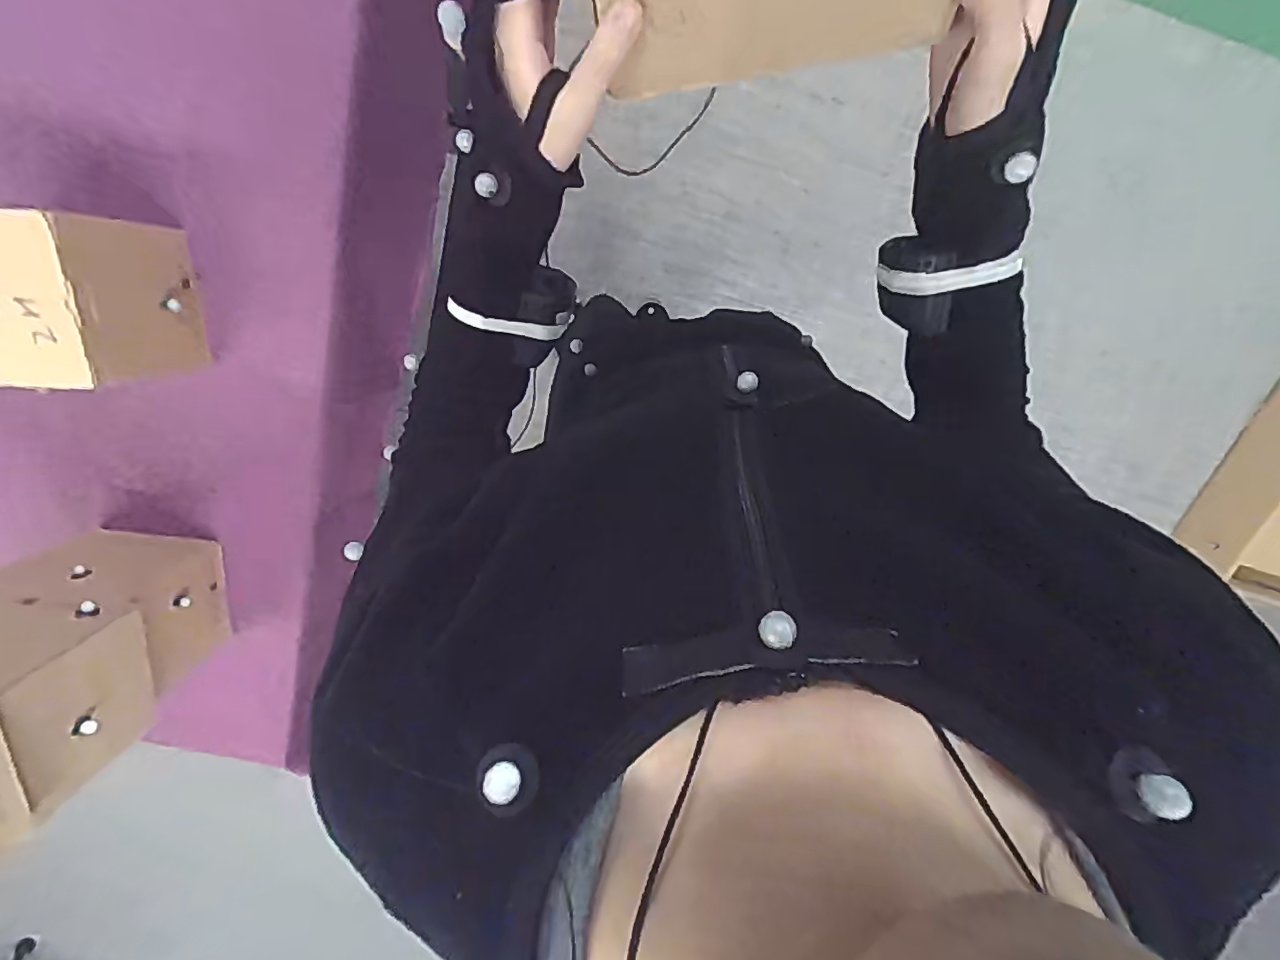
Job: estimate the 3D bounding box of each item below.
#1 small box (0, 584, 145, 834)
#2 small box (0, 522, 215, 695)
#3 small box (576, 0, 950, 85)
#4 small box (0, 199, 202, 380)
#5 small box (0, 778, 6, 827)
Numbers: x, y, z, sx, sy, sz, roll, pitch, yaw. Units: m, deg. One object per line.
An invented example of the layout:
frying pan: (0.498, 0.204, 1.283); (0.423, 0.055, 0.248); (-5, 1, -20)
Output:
small box: (-0.684, 0.229, 0.573); (0.168, 0.176, 0.179); (8, 108, -4)
small box: (-0.711, 0.169, 0.725); (0.179, 0.176, 0.168); (9, 108, -3)
small box: (0.051, -0.315, 0.231); (0.179, 0.168, 0.176); (-5, 69, 3)
small box: (-0.641, -0.208, 0.593); (0.179, 0.176, 0.168); (3, 109, -2)
small box: (-0.668, 0.276, 0.417); (0.179, 0.176, 0.168); (5, 108, -2)
